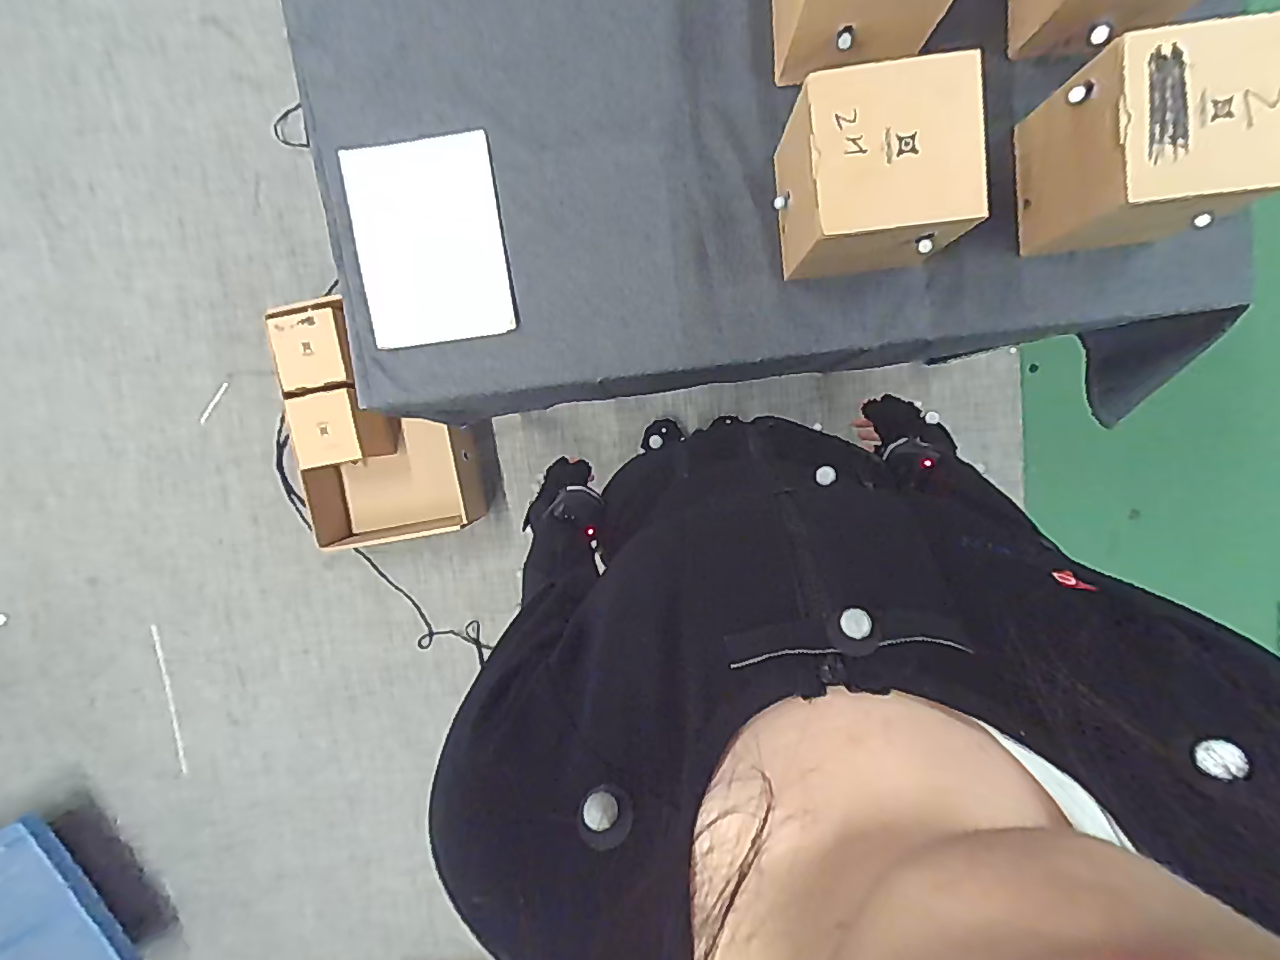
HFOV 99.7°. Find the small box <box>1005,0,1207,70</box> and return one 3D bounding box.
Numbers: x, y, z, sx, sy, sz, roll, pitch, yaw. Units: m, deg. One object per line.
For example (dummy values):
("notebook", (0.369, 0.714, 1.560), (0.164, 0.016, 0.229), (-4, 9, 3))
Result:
("small box", (0.540, -0.607, 0.603), (0.168, 0.176, 0.179), (-3, 95, 4))

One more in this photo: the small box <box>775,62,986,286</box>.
("small box", (0.269, -0.342, 0.637), (0.179, 0.176, 0.168), (-5, 93, 4))

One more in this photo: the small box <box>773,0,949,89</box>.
("small box", (0.251, -0.586, 0.622), (0.168, 0.176, 0.179), (-3, 94, 3))
